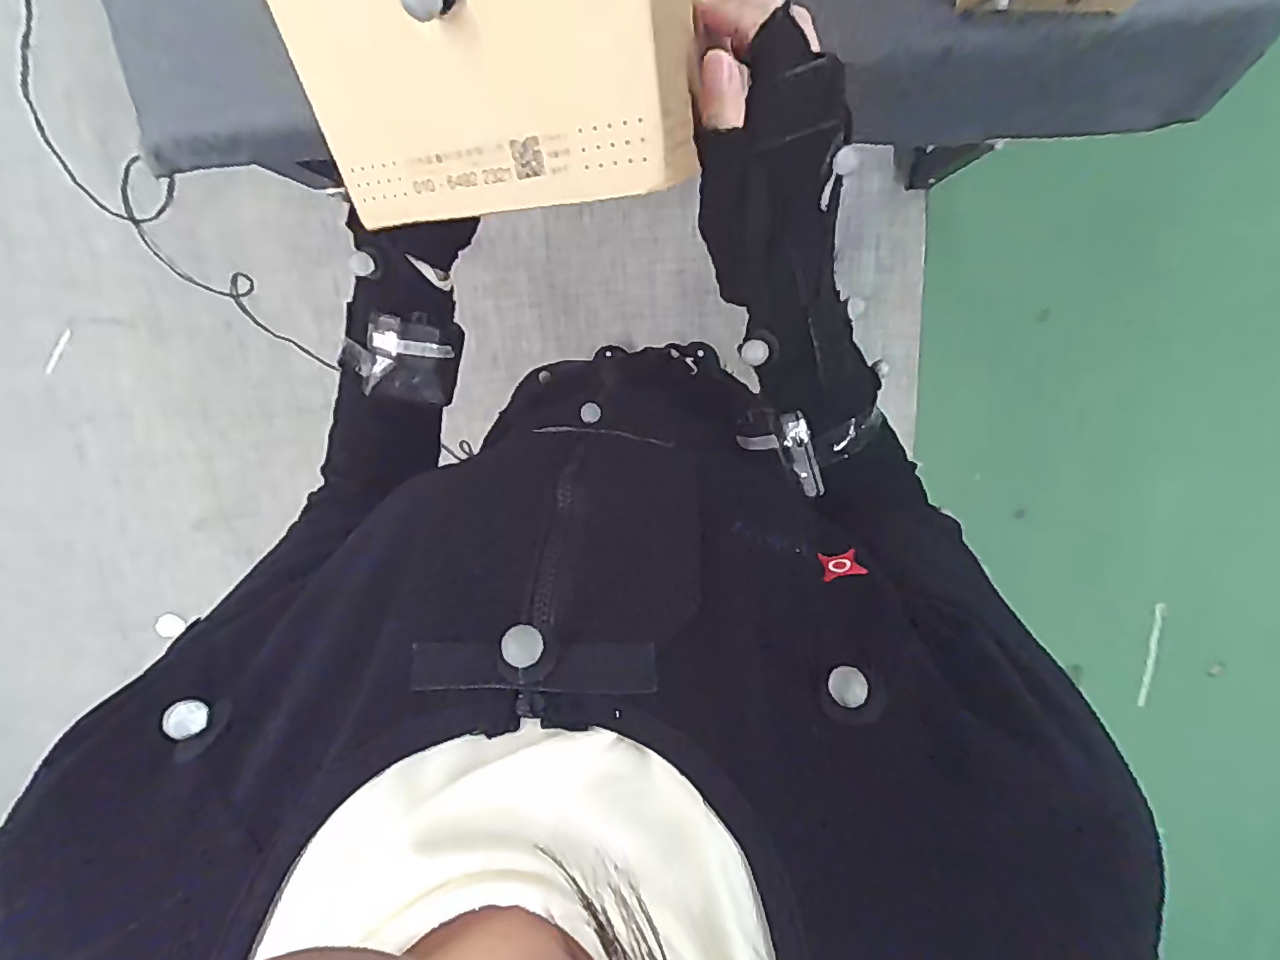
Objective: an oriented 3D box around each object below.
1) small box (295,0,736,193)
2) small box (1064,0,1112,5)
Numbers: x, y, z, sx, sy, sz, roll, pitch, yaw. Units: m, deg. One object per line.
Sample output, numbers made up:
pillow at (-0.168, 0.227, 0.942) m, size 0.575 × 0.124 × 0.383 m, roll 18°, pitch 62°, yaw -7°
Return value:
small box at (-0.049, -0.249, 0.264) m, size 0.168 × 0.179 × 0.176 m, roll 6°, pitch 131°, yaw 19°
small box at (0.397, -0.542, 0.447) m, size 0.168 × 0.176 × 0.179 m, roll 4°, pitch 104°, yaw 2°
